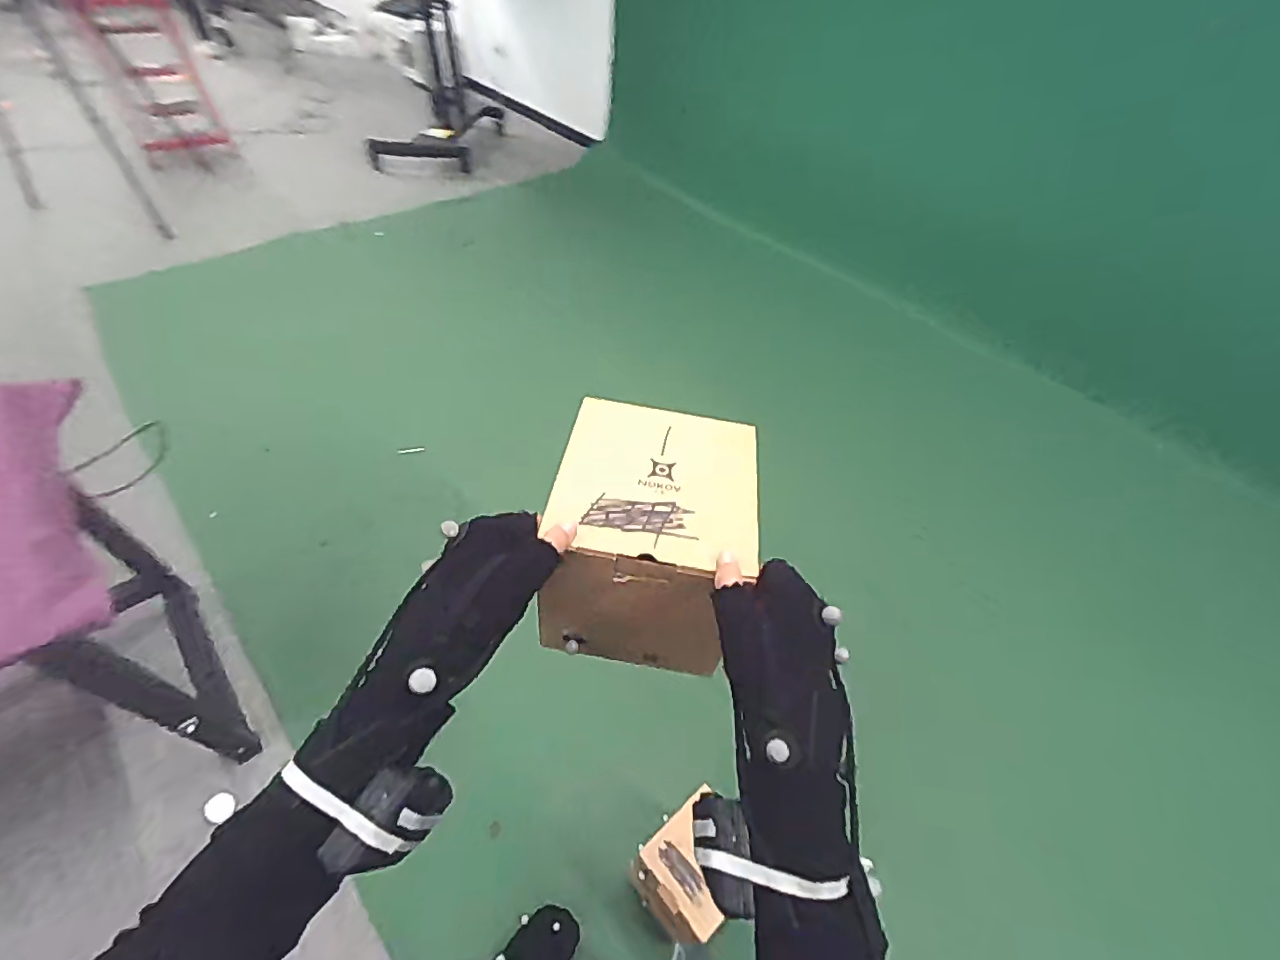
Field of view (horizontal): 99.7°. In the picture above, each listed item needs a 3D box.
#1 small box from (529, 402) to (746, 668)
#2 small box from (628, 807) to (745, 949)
[{"bbox_3d":[0.001,0.055,0.512,0.168,0.176,0.179,9,45,0],"label":"small box"},{"bbox_3d":[0.089,0.836,1.141,0.179,0.176,0.168,-32,59,-27],"label":"small box"}]
